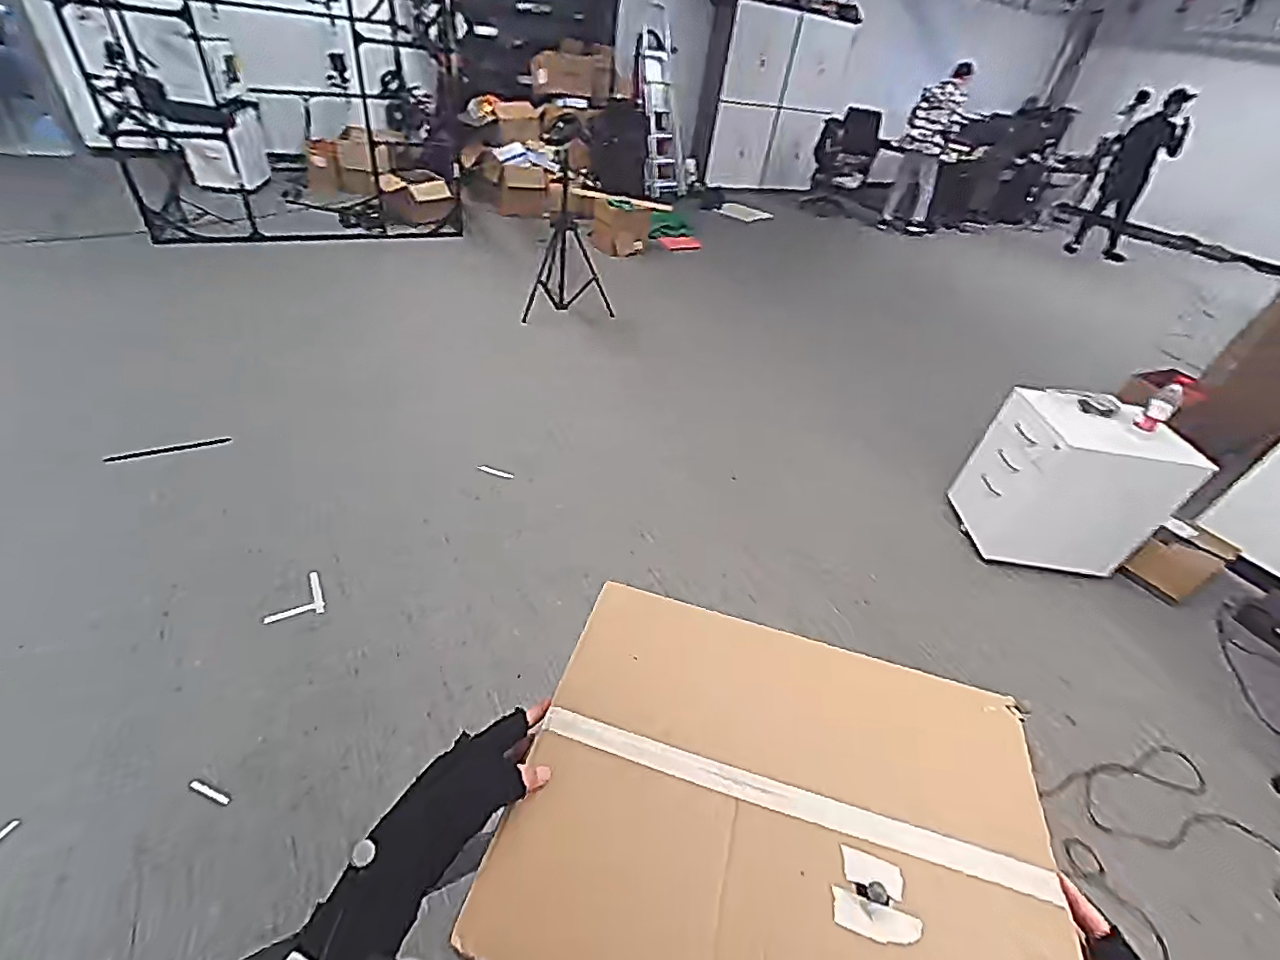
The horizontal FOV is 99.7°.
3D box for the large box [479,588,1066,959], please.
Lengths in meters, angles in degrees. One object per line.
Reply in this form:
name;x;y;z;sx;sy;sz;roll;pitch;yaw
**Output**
large box;0.107;0.367;0.539;0.408;0.320;0.320;15;43;10
